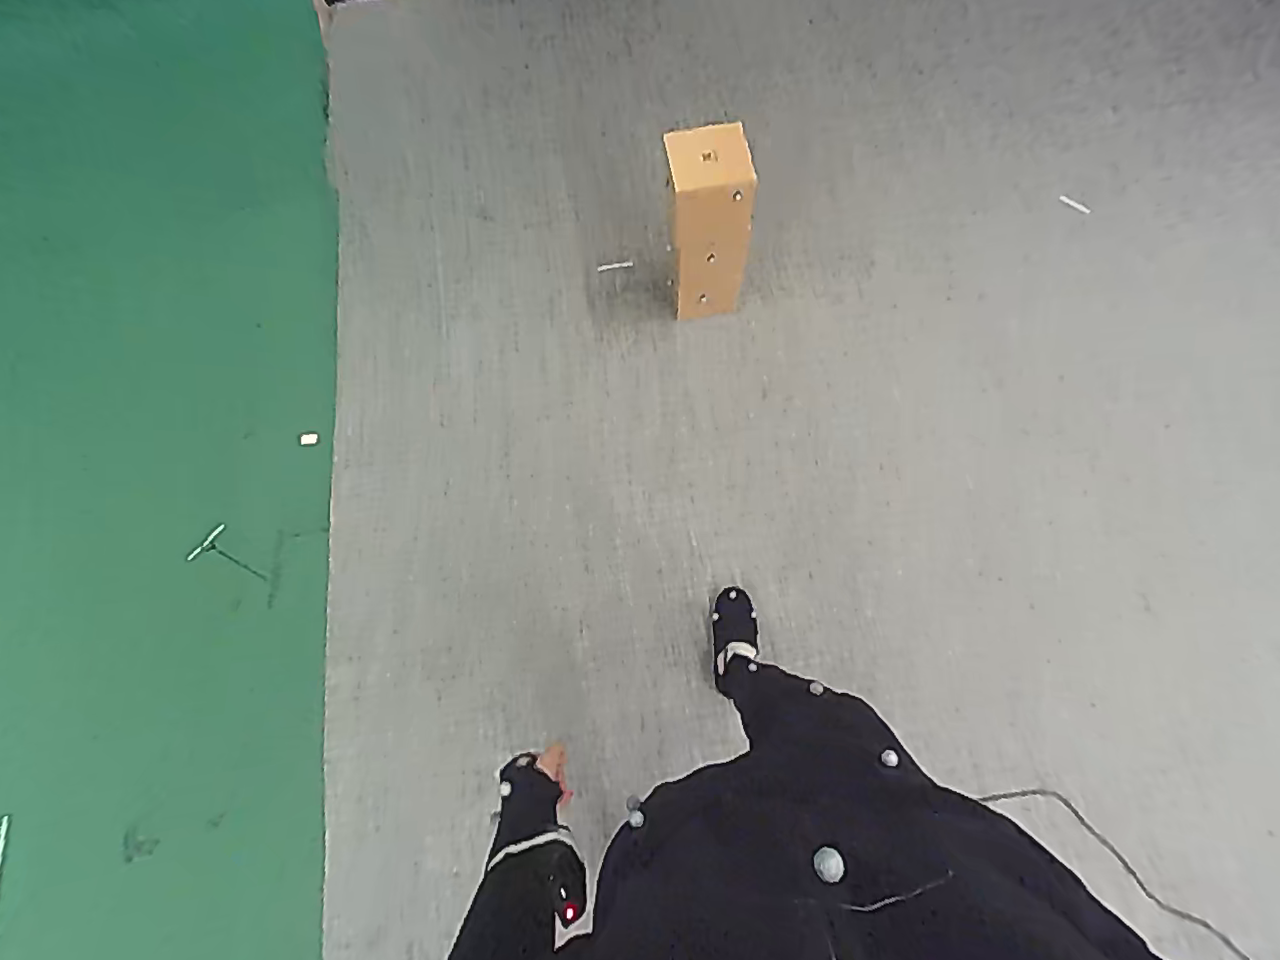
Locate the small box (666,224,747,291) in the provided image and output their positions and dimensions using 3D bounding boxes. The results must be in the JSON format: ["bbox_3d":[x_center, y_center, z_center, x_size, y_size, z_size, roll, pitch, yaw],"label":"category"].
[{"bbox_3d":[0.167,-0.624,1.415,0.179,0.176,0.168,-12,72,1],"label":"small box"}]

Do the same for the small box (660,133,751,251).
[{"bbox_3d":[0.147,-0.659,1.257,0.179,0.176,0.168,-9,72,0],"label":"small box"}]
